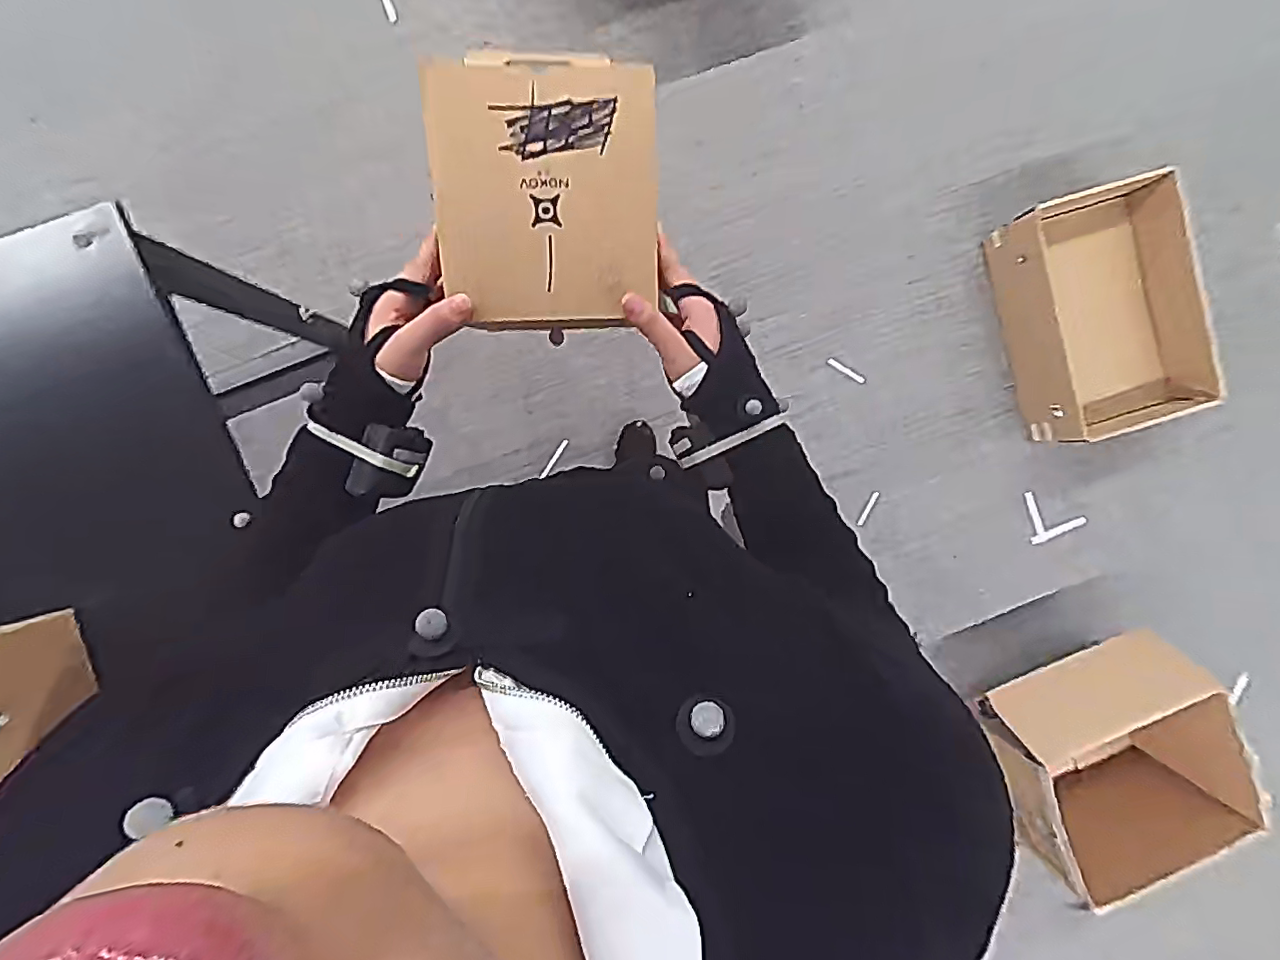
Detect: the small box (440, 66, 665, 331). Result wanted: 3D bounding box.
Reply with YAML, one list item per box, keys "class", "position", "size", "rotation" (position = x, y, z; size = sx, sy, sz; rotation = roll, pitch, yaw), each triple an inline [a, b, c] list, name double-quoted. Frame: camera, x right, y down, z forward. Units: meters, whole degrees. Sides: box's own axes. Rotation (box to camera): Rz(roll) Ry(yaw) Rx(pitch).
- class: "small box"
  position: [-0.070, -0.231, 0.488]
  size: [0.168, 0.176, 0.179]
  rotation: [-2, 103, -5]
